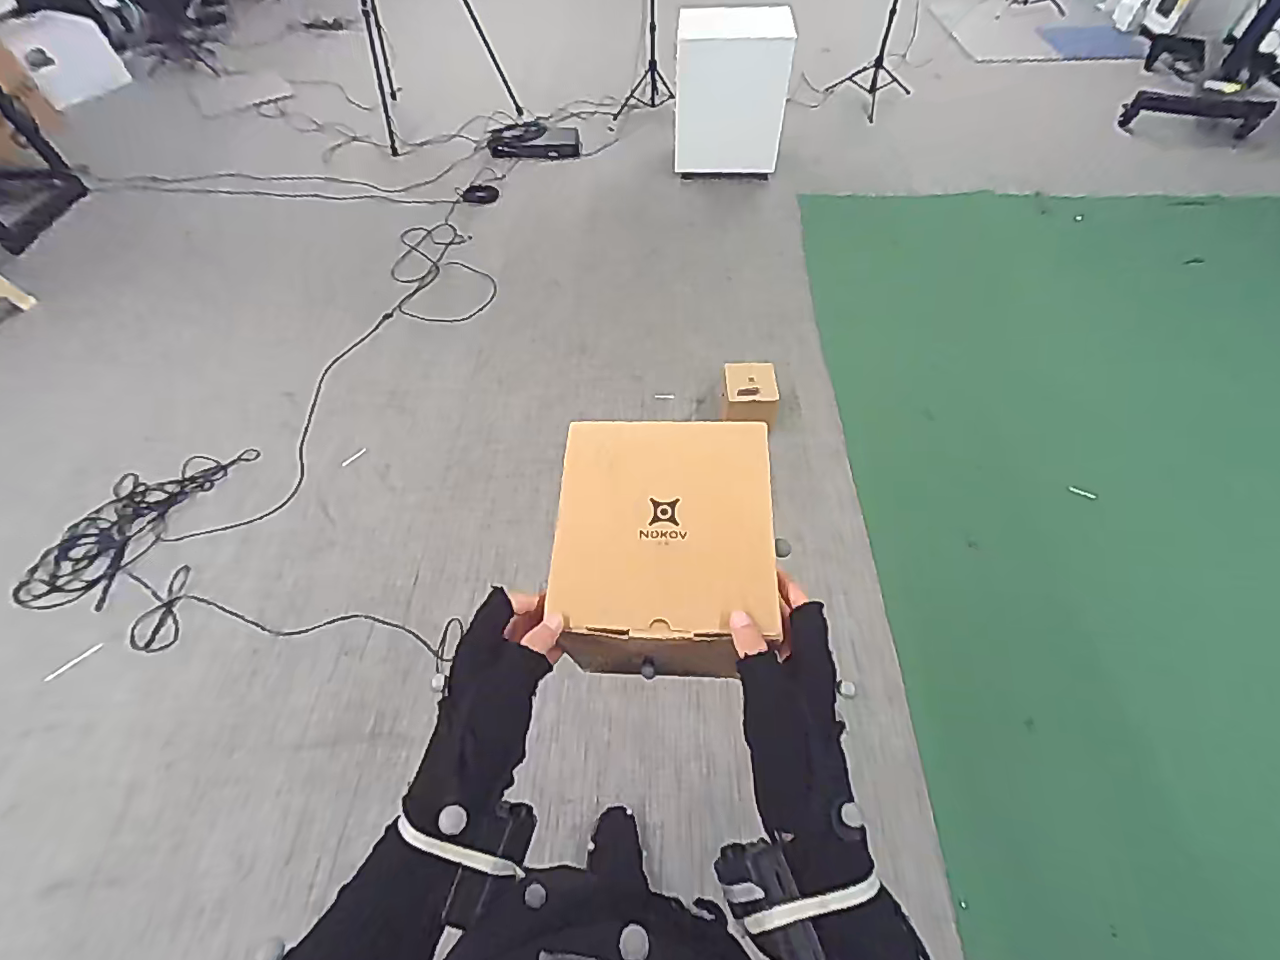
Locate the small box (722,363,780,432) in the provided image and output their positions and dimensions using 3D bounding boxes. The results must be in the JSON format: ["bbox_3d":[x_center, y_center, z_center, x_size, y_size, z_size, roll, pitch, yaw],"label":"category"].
[{"bbox_3d":[0.372,-0.276,1.833,0.168,0.176,0.179,0,55,2],"label":"small box"}]
